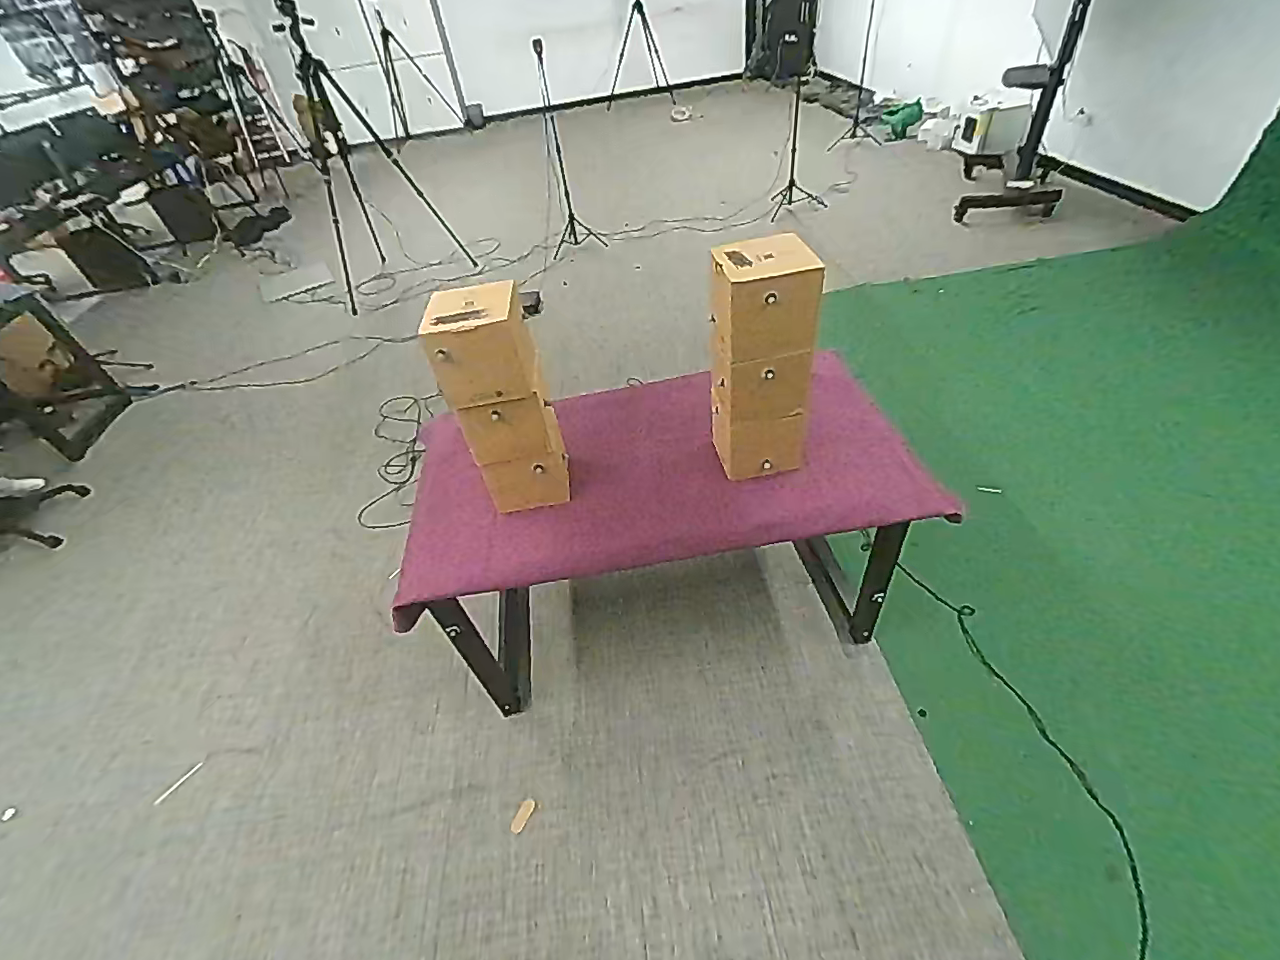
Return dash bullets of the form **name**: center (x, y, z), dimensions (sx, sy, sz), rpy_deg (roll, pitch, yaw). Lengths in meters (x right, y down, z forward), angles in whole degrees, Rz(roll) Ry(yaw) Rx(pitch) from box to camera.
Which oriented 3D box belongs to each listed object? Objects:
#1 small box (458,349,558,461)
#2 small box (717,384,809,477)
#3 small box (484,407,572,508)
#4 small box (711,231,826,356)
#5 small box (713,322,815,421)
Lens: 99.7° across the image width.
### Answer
- **small box**: center (-0.283, -0.164, 1.200), dimensions (0.179, 0.176, 0.168), rpy_deg (-10, 45, 0)
- **small box**: center (0.286, -0.130, 1.295), dimensions (0.179, 0.176, 0.168), rpy_deg (-11, 44, -1)
- **small box**: center (-0.263, -0.053, 1.316), dimensions (0.179, 0.176, 0.168), rpy_deg (-10, 44, 0)
- **small box**: center (0.247, -0.364, 1.069), dimensions (0.179, 0.176, 0.168), rpy_deg (-11, 46, 0)
- **small box**: center (0.266, -0.247, 1.182), dimensions (0.179, 0.176, 0.168), rpy_deg (-10, 45, 0)
